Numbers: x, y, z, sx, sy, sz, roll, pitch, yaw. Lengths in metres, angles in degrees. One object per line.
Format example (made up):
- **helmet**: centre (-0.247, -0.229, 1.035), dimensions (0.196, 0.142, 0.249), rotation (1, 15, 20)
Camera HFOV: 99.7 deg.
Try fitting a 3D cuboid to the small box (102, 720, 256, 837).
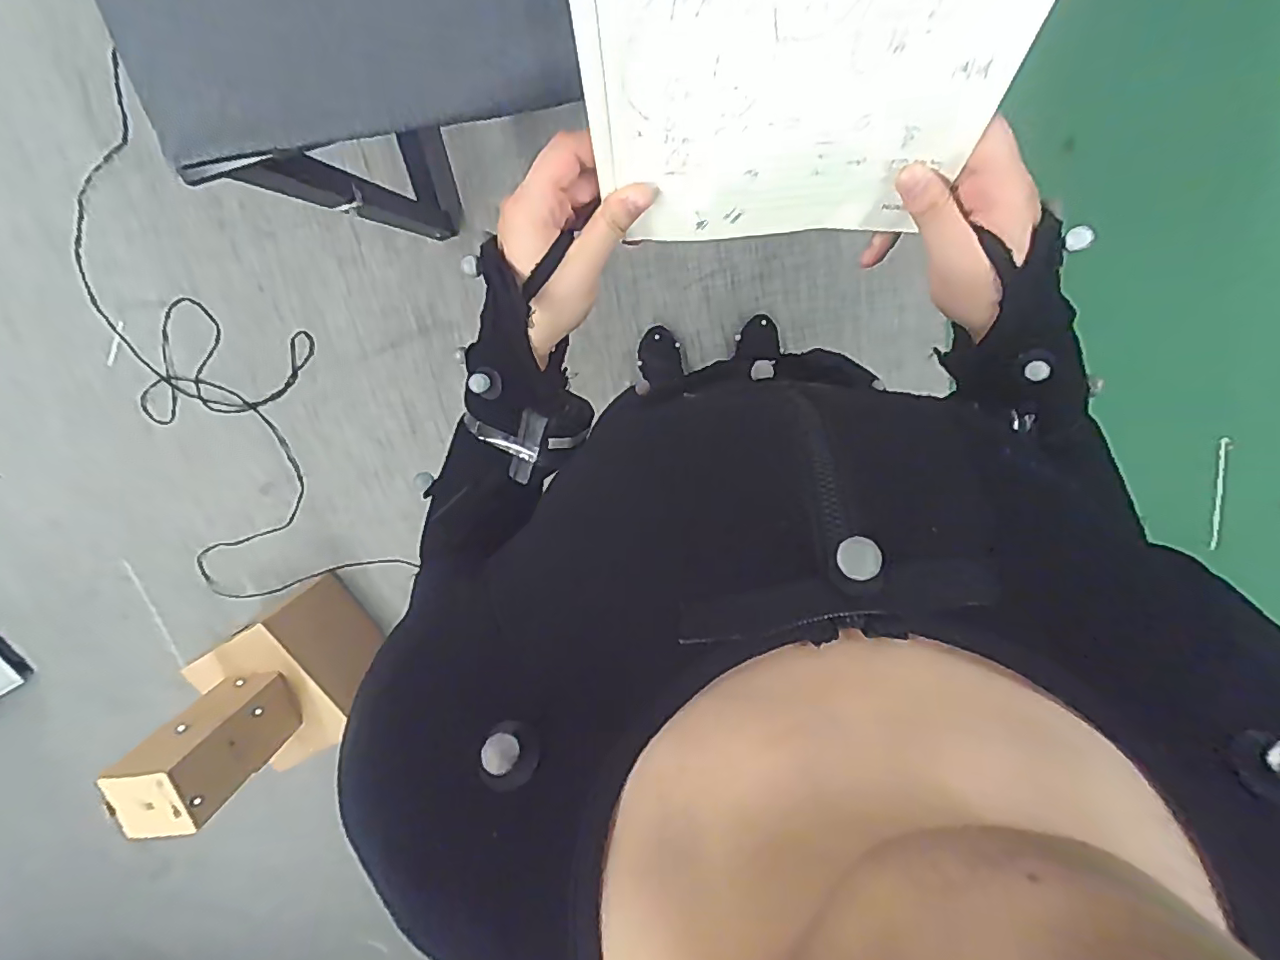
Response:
- **small box**: centre (-1.035, 0.672, 1.229), dimensions (0.179, 0.176, 0.168), rotation (-9, 107, 9)
